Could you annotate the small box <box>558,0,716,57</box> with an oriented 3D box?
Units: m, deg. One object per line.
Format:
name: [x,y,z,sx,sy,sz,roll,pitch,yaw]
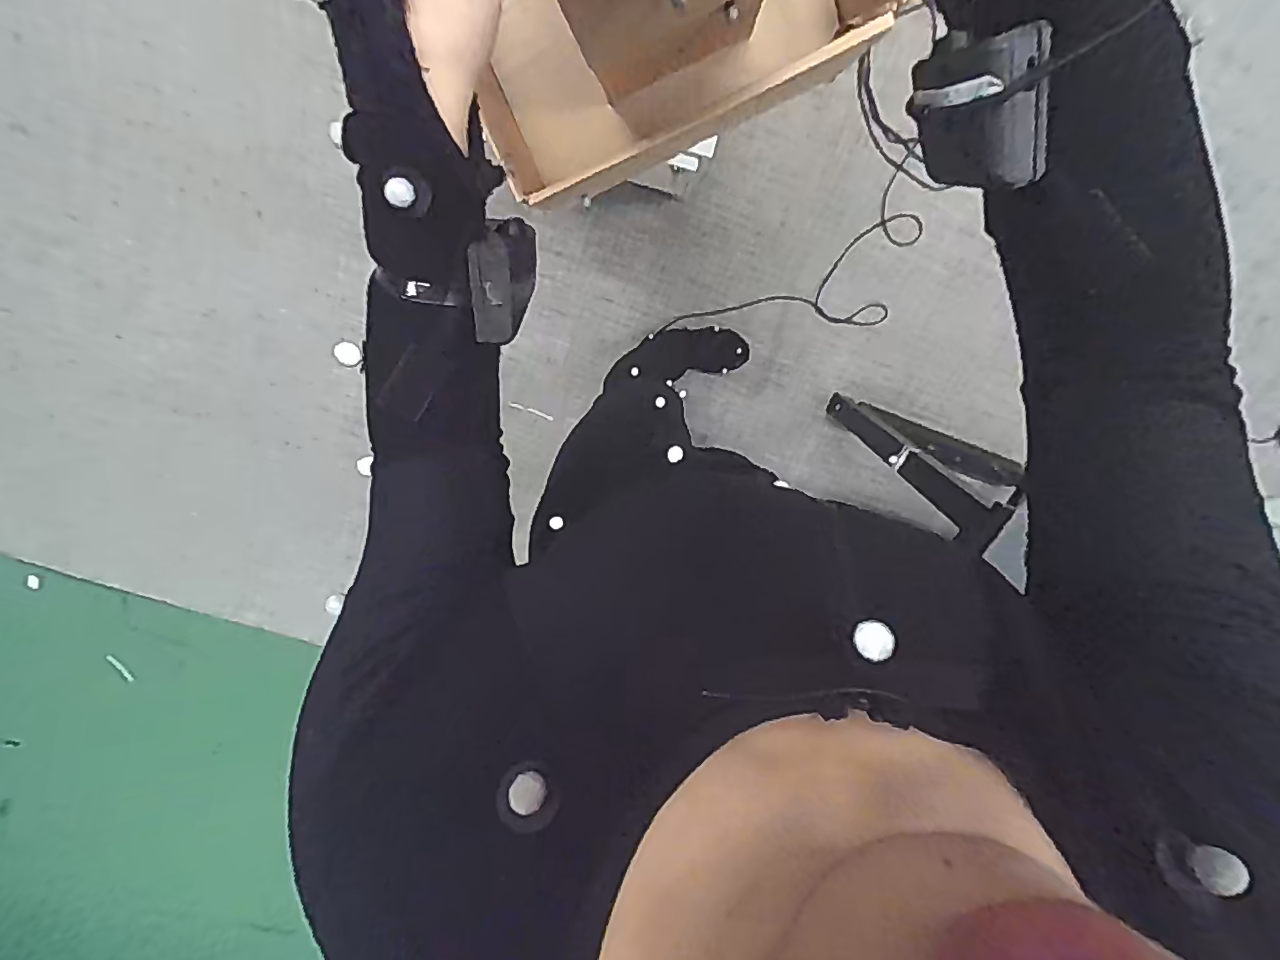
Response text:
small box: [0.001,-0.434,0.362,0.179,0.176,0.168,-19,111,12]
